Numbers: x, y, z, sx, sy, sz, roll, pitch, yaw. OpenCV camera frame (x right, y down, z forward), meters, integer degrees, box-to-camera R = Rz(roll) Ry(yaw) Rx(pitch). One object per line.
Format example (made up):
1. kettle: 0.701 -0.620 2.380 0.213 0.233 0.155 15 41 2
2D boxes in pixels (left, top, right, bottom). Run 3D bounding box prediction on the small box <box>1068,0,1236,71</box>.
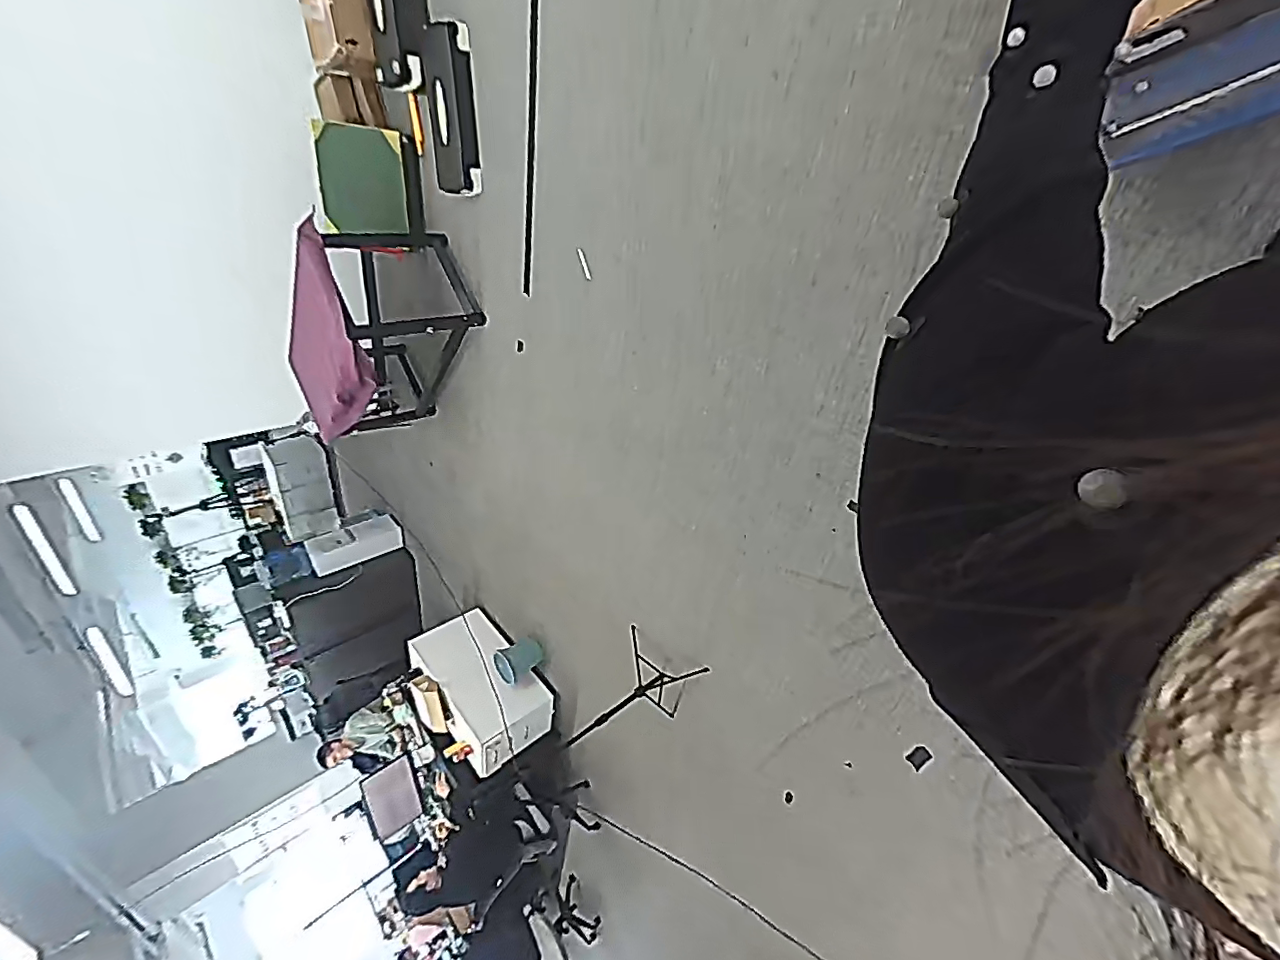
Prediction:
1. small box: 0.743 -0.740 0.789 0.168 0.176 0.179 -9 100 49
